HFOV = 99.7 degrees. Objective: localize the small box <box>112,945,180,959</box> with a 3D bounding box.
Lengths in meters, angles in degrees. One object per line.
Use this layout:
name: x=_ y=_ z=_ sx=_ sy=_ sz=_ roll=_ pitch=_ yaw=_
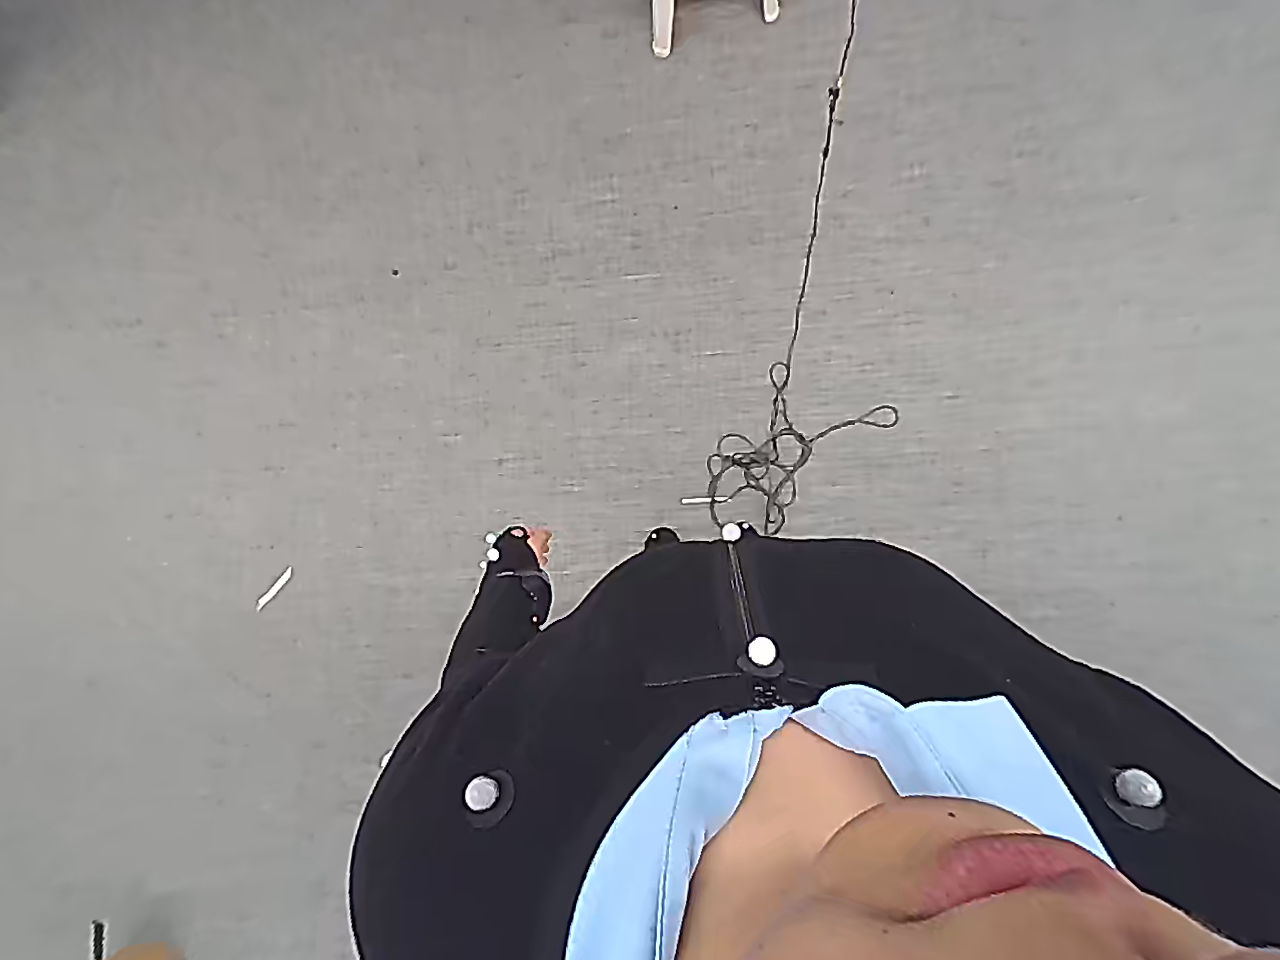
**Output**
small box: x=-1.419 y=1.429 z=1.485 sx=0.179 sy=0.176 sz=0.168 roll=-1 pitch=84 yaw=6
